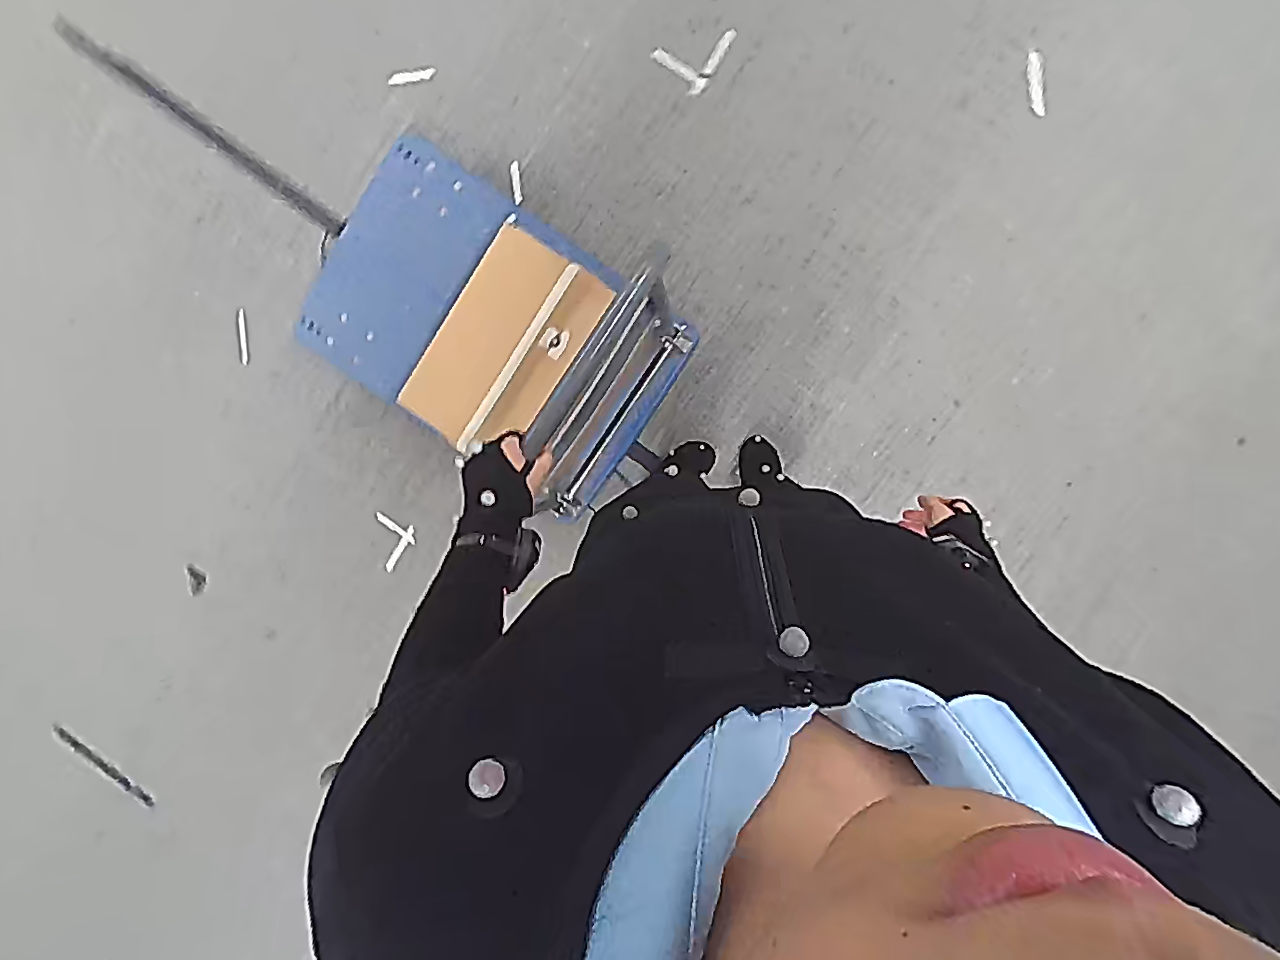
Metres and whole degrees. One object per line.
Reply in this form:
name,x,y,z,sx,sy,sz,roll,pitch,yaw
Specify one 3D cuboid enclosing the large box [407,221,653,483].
large box,-0.212,-0.249,1.176,0.320,0.320,0.408,35,96,0
